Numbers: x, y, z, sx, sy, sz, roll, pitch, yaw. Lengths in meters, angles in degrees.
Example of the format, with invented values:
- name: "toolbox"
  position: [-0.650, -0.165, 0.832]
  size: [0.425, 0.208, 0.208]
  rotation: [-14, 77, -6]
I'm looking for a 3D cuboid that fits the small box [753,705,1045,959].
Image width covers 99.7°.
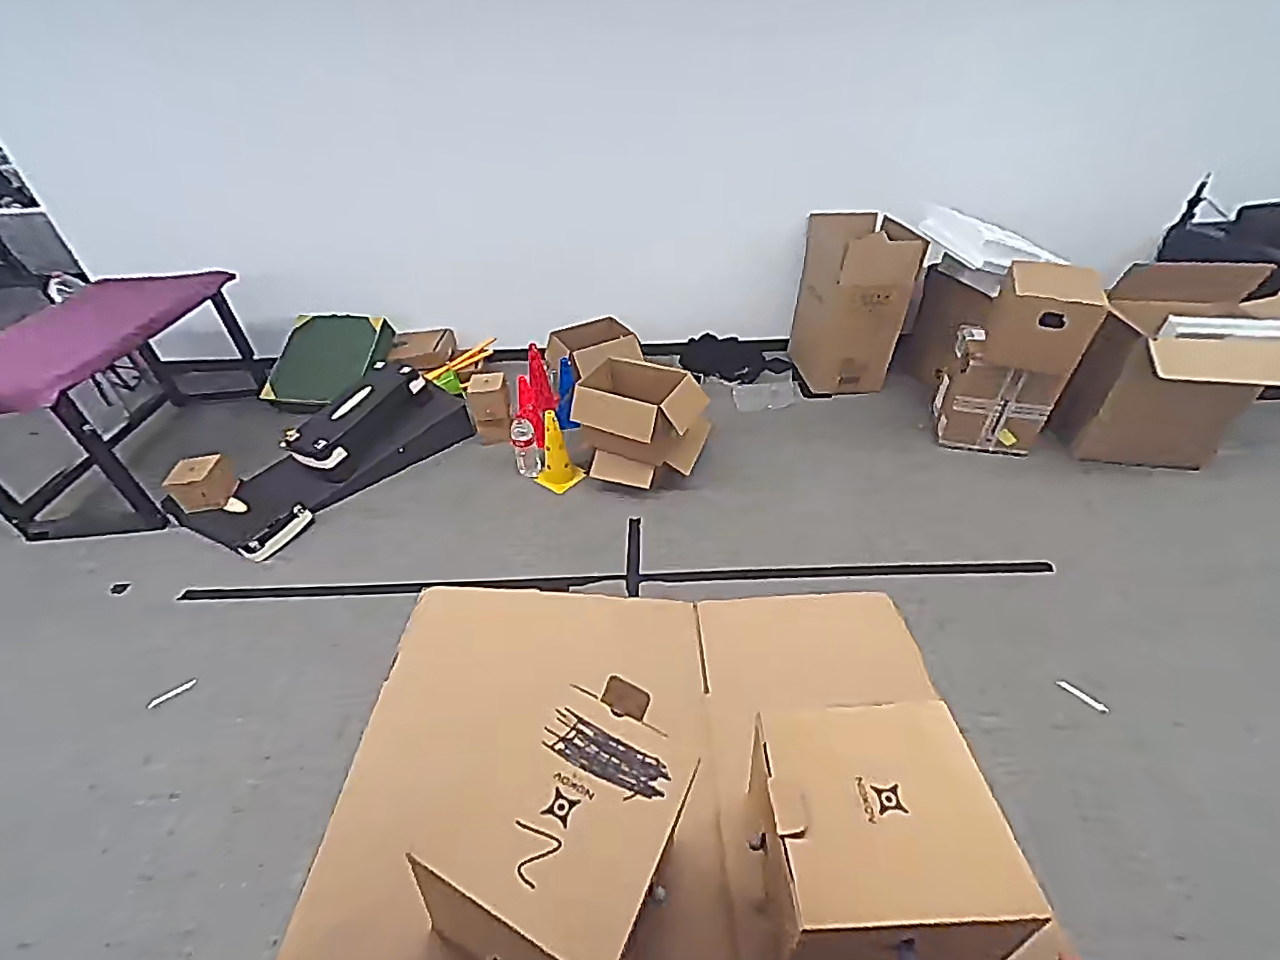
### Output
- name: "small box"
  position: [0.208, 0.331, 0.496]
  size: [0.179, 0.176, 0.168]
  rotation: [-4, 36, 2]
